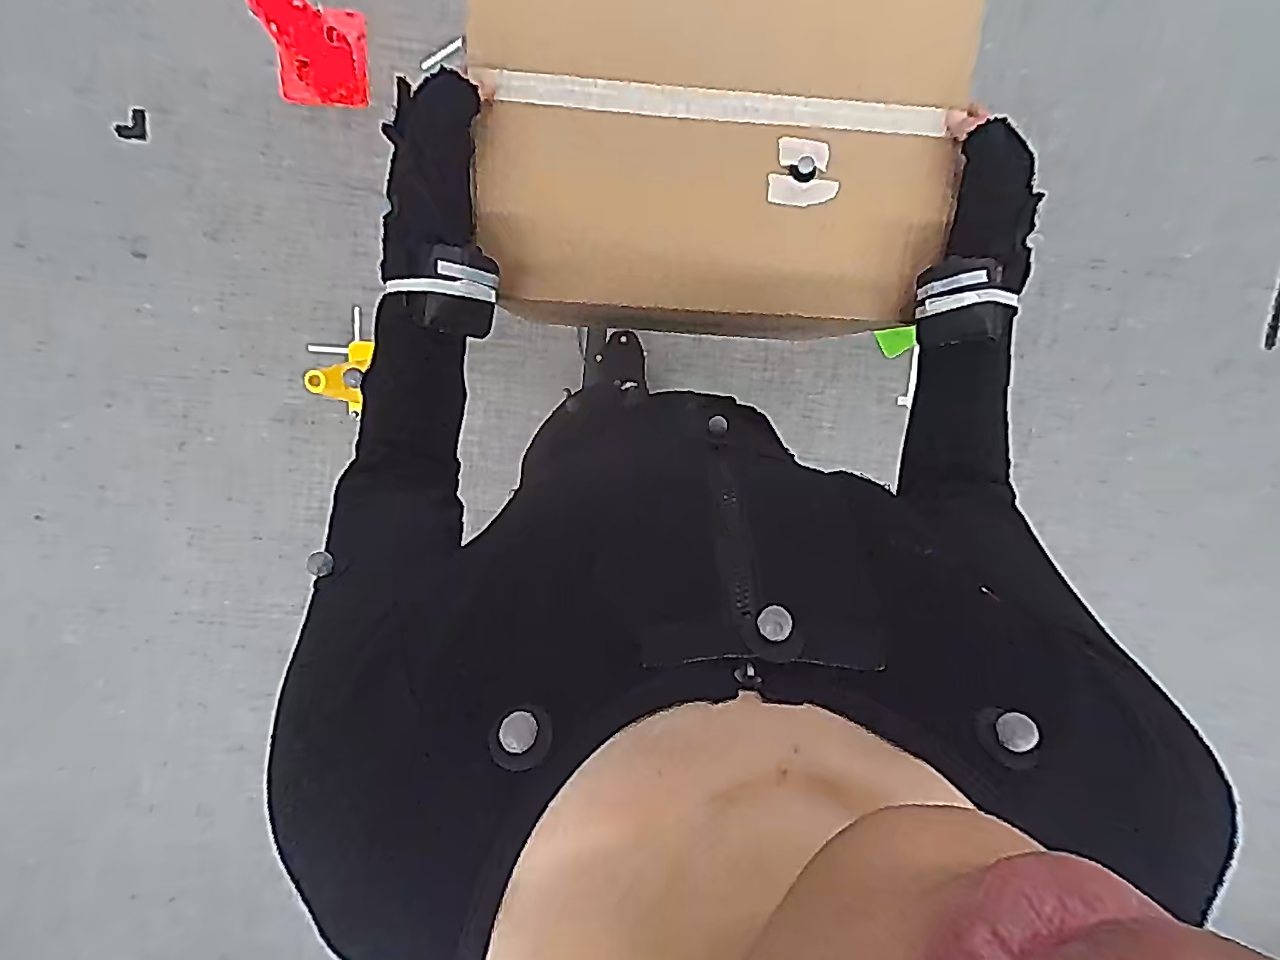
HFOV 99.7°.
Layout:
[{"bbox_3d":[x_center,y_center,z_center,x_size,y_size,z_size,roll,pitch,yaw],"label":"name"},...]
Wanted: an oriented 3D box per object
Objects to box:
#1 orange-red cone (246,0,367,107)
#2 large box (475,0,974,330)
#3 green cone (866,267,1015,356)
[{"bbox_3d":[-0.729,-0.946,1.086,0.198,0.360,0.199,3,101,-3],"label":"orange-red cone"},{"bbox_3d":[0.056,-0.338,0.584,0.408,0.320,0.320,2,102,-5],"label":"large box"},{"bbox_3d":[0.708,-0.425,1.249,0.202,0.368,0.200,-32,100,1],"label":"green cone"}]
